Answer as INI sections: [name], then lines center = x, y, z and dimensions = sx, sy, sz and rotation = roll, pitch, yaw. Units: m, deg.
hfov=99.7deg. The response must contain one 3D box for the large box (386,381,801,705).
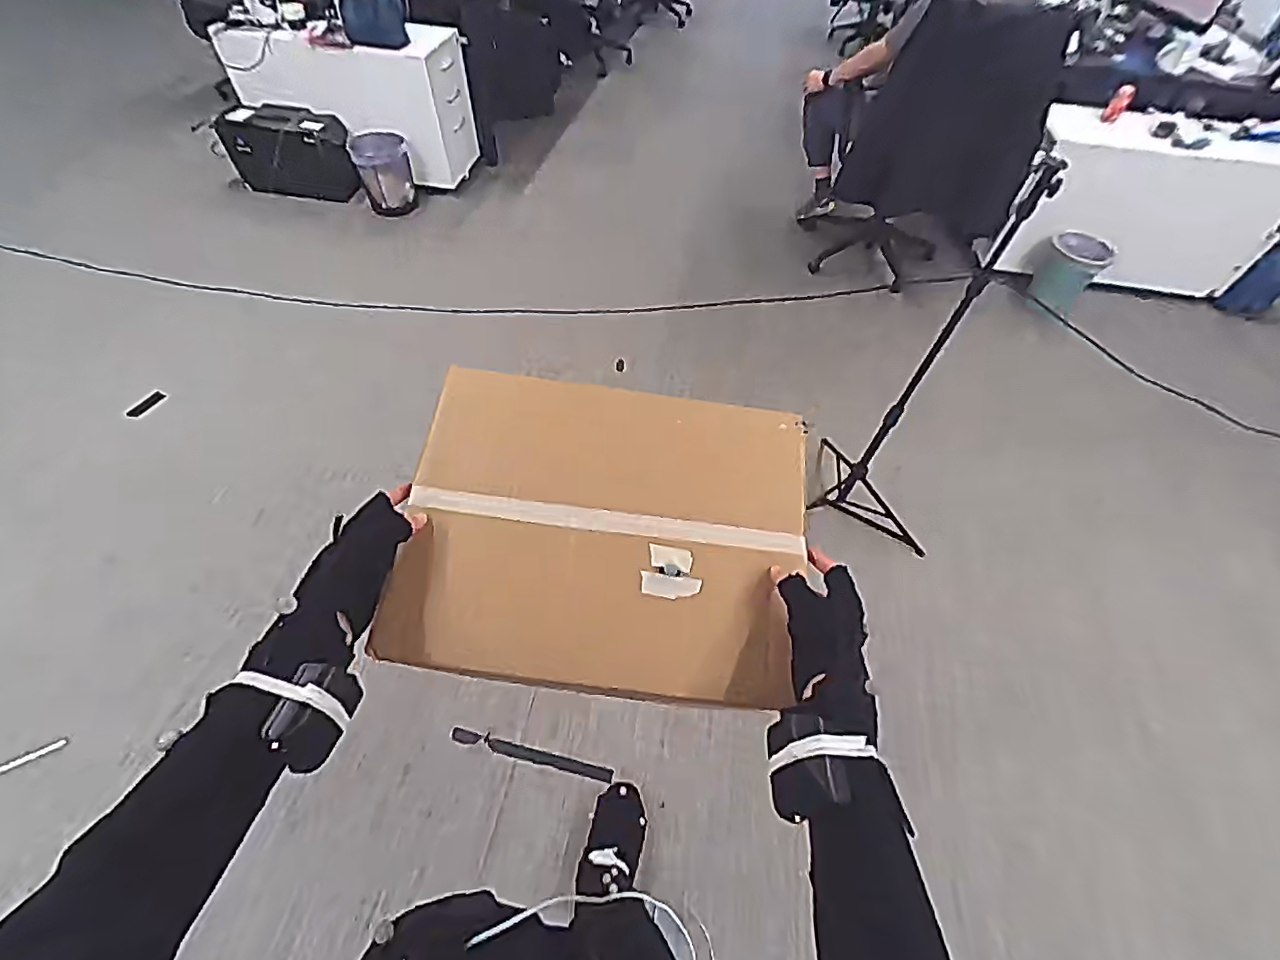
[large box]
center = -0.041, 0.105, 0.704
dimensions = 0.408, 0.320, 0.320
rotation = 8, 67, -2
